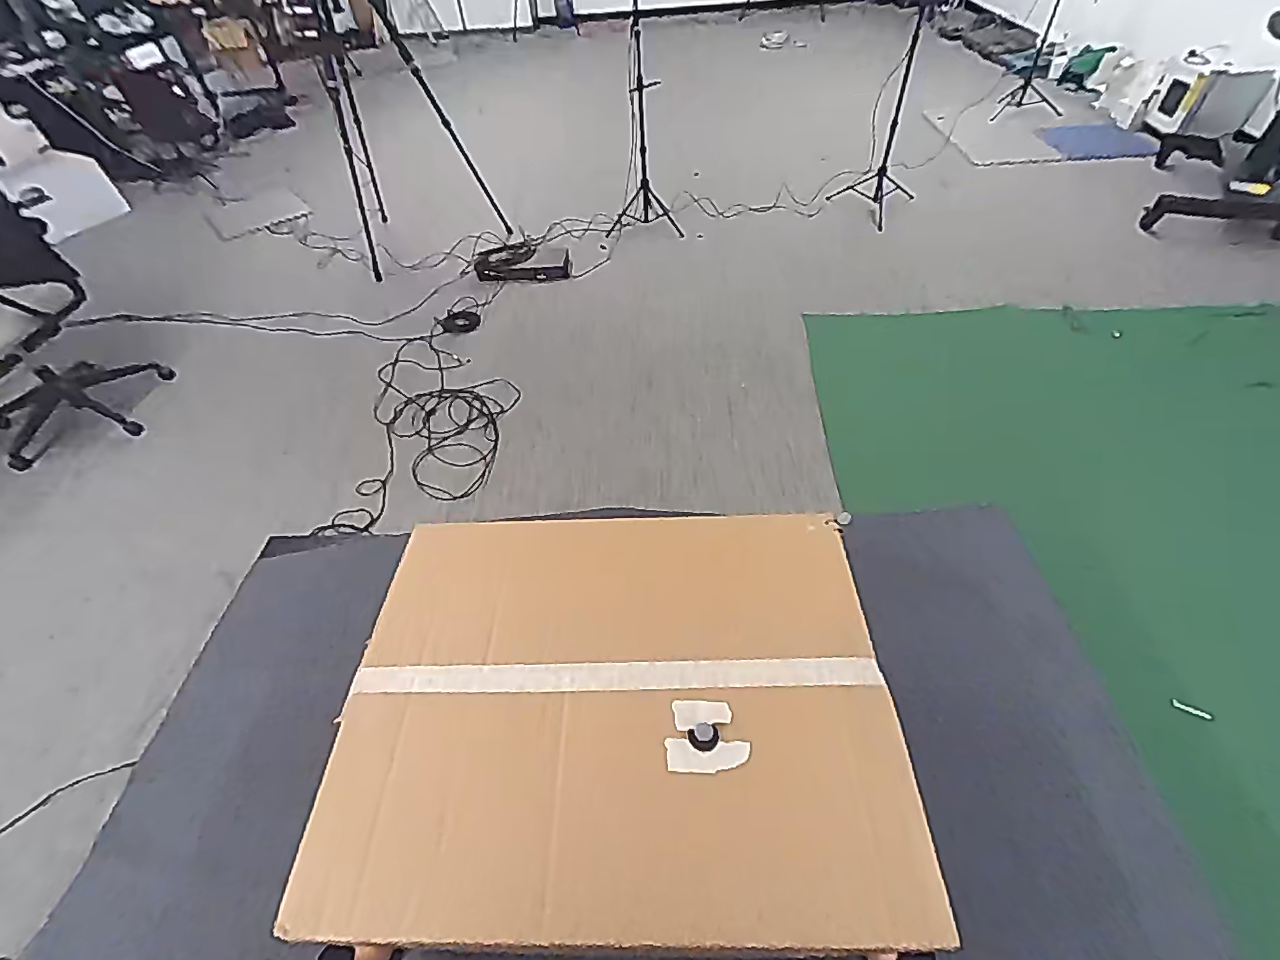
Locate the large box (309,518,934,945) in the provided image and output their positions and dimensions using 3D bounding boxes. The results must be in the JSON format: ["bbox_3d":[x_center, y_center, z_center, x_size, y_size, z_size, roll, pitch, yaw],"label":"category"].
[{"bbox_3d":[-0.010,0.258,0.546,0.408,0.320,0.320,-2,49,2],"label":"large box"}]
